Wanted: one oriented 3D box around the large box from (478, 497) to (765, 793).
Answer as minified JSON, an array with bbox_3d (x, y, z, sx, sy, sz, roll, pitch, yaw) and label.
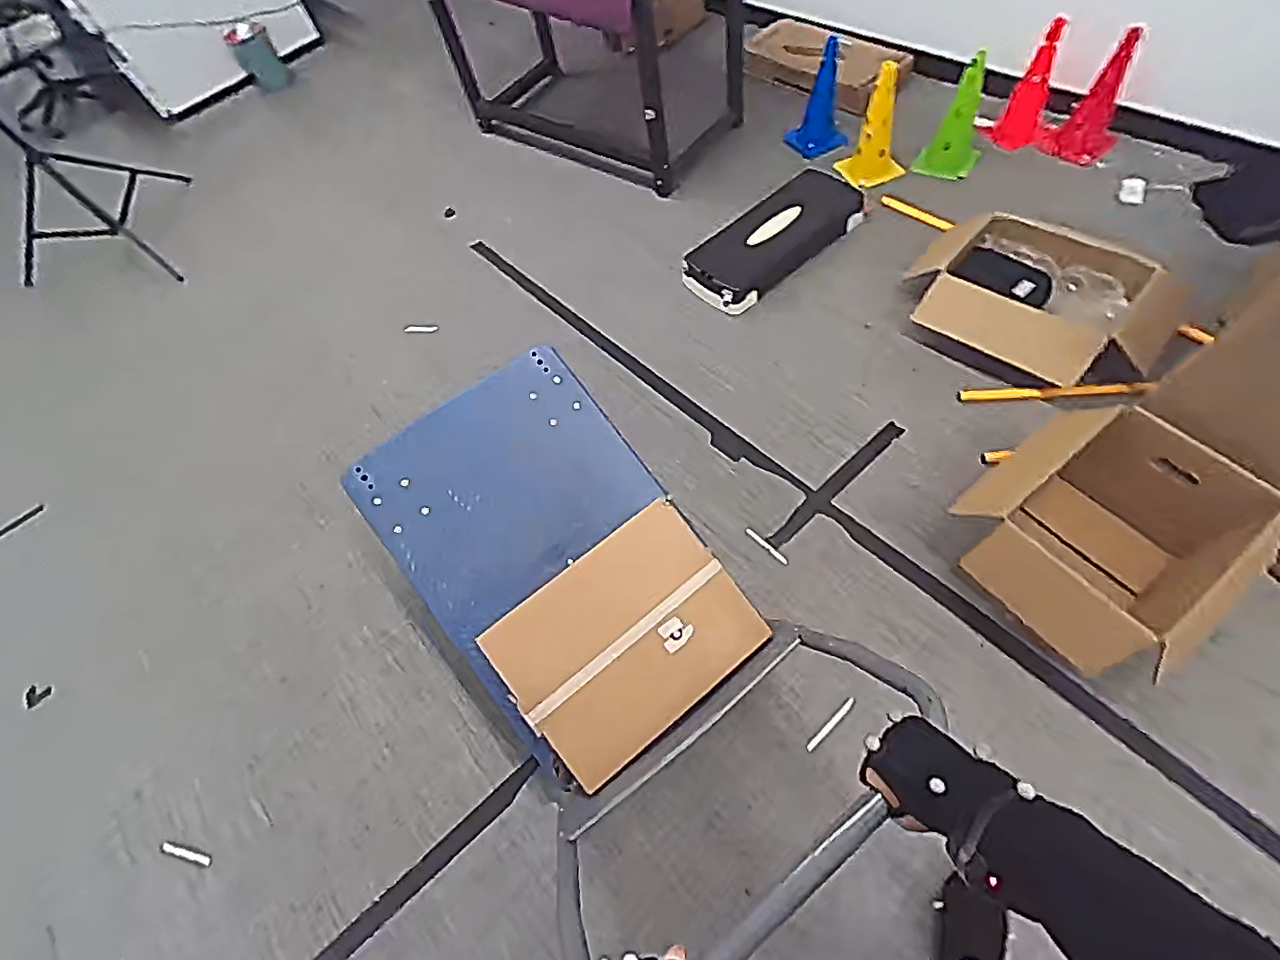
[{"bbox_3d":[-0.042,0.296,1.059,0.408,0.320,0.320,-38,86,-12],"label":"large box"}]
